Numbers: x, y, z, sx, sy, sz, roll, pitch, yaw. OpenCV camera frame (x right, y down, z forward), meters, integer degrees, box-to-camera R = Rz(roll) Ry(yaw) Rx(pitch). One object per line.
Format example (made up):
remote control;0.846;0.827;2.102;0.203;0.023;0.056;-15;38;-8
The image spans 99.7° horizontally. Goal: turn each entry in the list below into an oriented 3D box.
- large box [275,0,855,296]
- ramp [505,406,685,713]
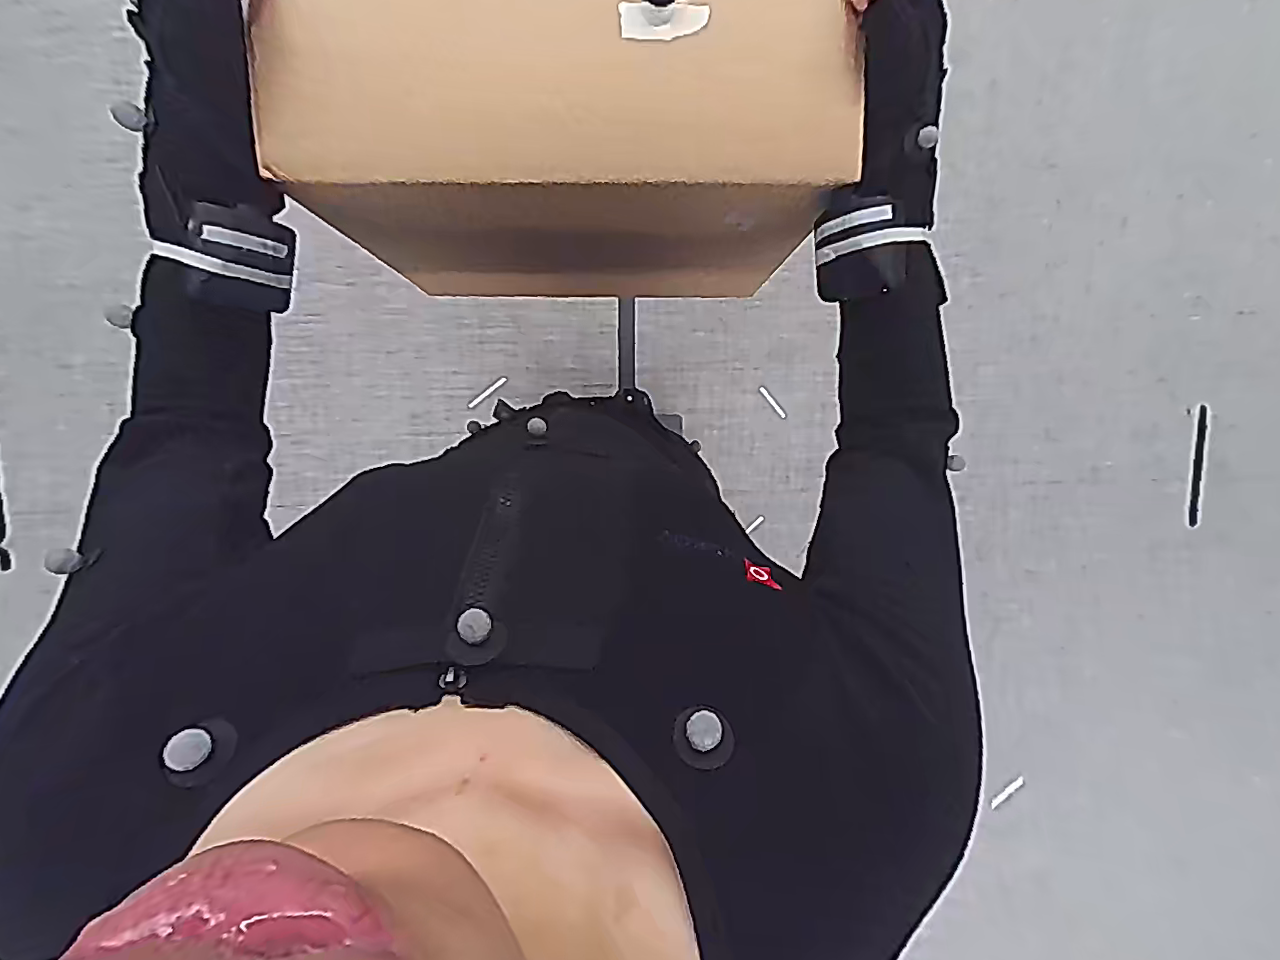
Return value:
large box;-0.055;-0.375;0.517;0.408;0.320;0.320;-1;95;-2
ramp;-0.109;0.276;1.616;0.509;0.206;0.991;-3;98;-3
